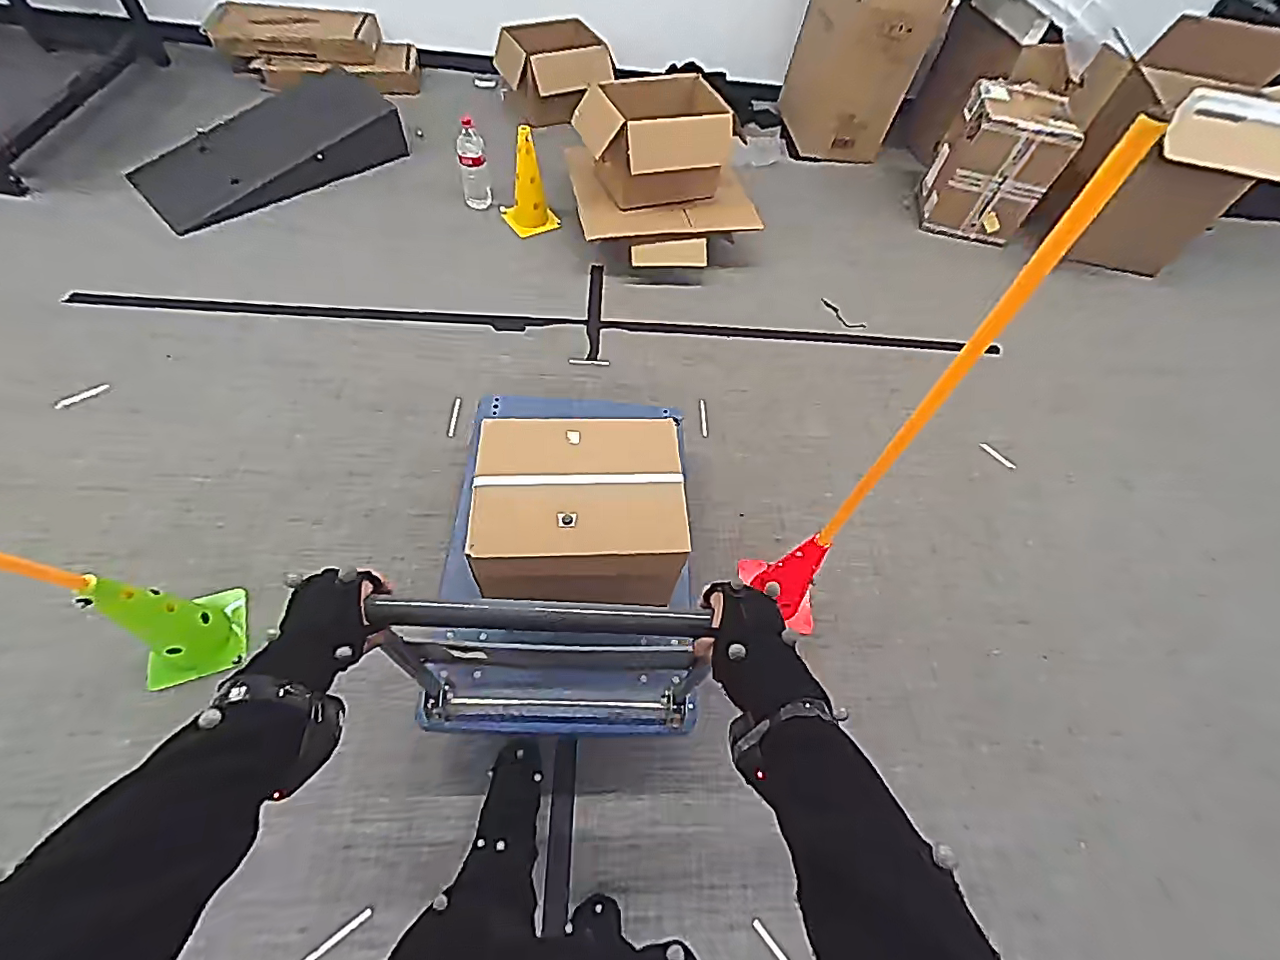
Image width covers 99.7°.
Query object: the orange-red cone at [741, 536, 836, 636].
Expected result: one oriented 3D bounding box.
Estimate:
[{"bbox_3d":[0.394,0.229,1.327,0.199,0.360,0.198,8,58,-3],"label":"orange-red cone"}]
